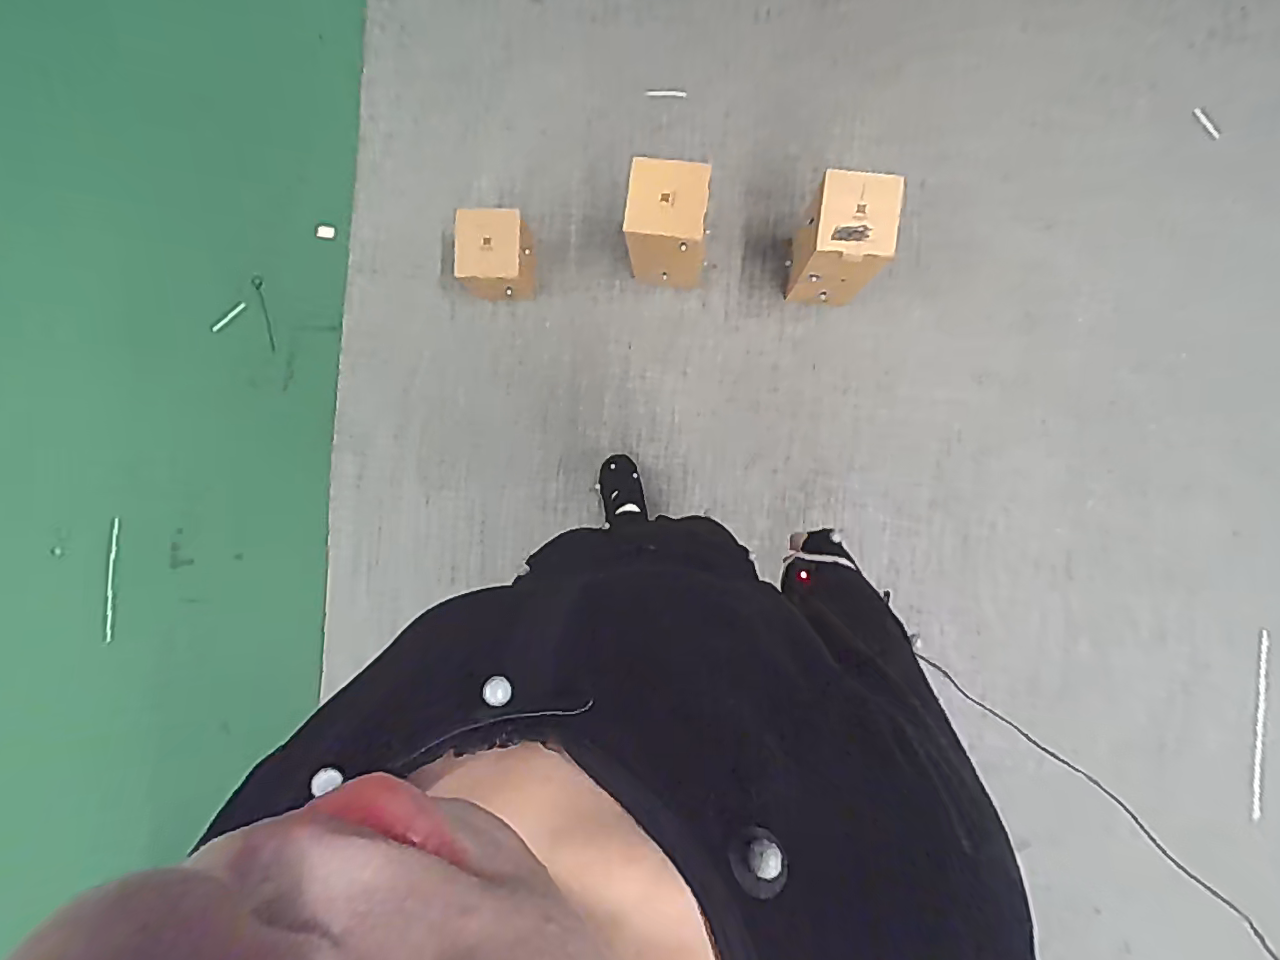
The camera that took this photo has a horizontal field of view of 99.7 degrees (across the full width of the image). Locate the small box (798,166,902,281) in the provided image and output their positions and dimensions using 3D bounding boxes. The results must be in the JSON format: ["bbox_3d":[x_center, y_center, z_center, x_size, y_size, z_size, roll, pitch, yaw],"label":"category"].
[{"bbox_3d":[0.463,-0.567,1.217,0.168,0.176,0.179,8,90,3],"label":"small box"}]

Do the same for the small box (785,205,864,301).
[{"bbox_3d":[0.475,-0.572,1.382,0.168,0.176,0.179,6,91,3],"label":"small box"}]

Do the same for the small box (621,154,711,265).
[{"bbox_3d":[0.061,-0.613,1.243,0.179,0.176,0.168,8,90,3],"label":"small box"}]

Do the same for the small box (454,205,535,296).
[{"bbox_3d":[-0.380,-0.601,1.434,0.168,0.176,0.179,2,90,3],"label":"small box"}]
